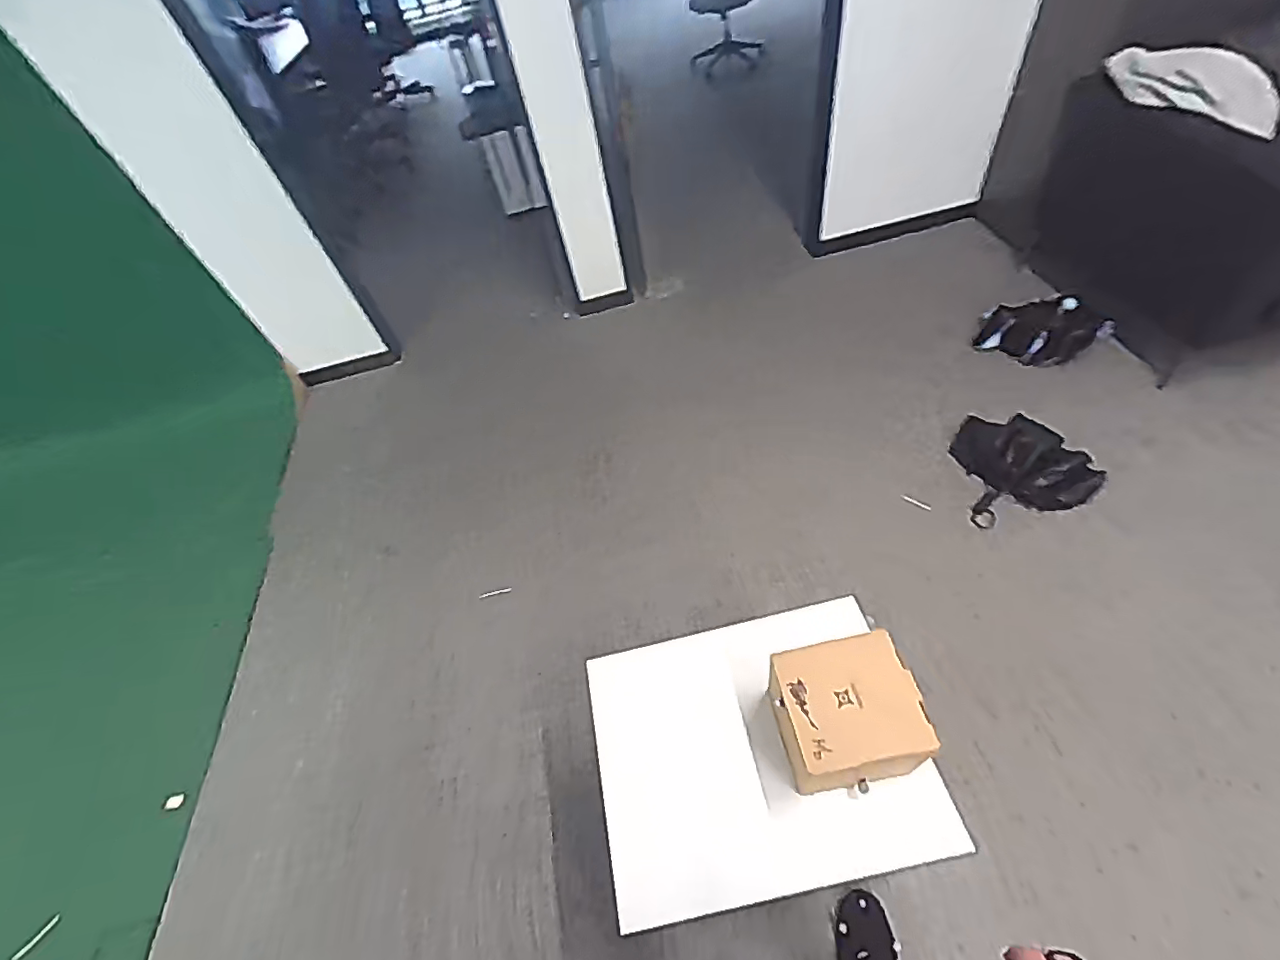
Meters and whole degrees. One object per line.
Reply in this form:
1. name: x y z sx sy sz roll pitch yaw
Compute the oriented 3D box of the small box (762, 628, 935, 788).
1. small box: 0.291 0.340 0.800 0.179 0.176 0.168 -11 52 0
